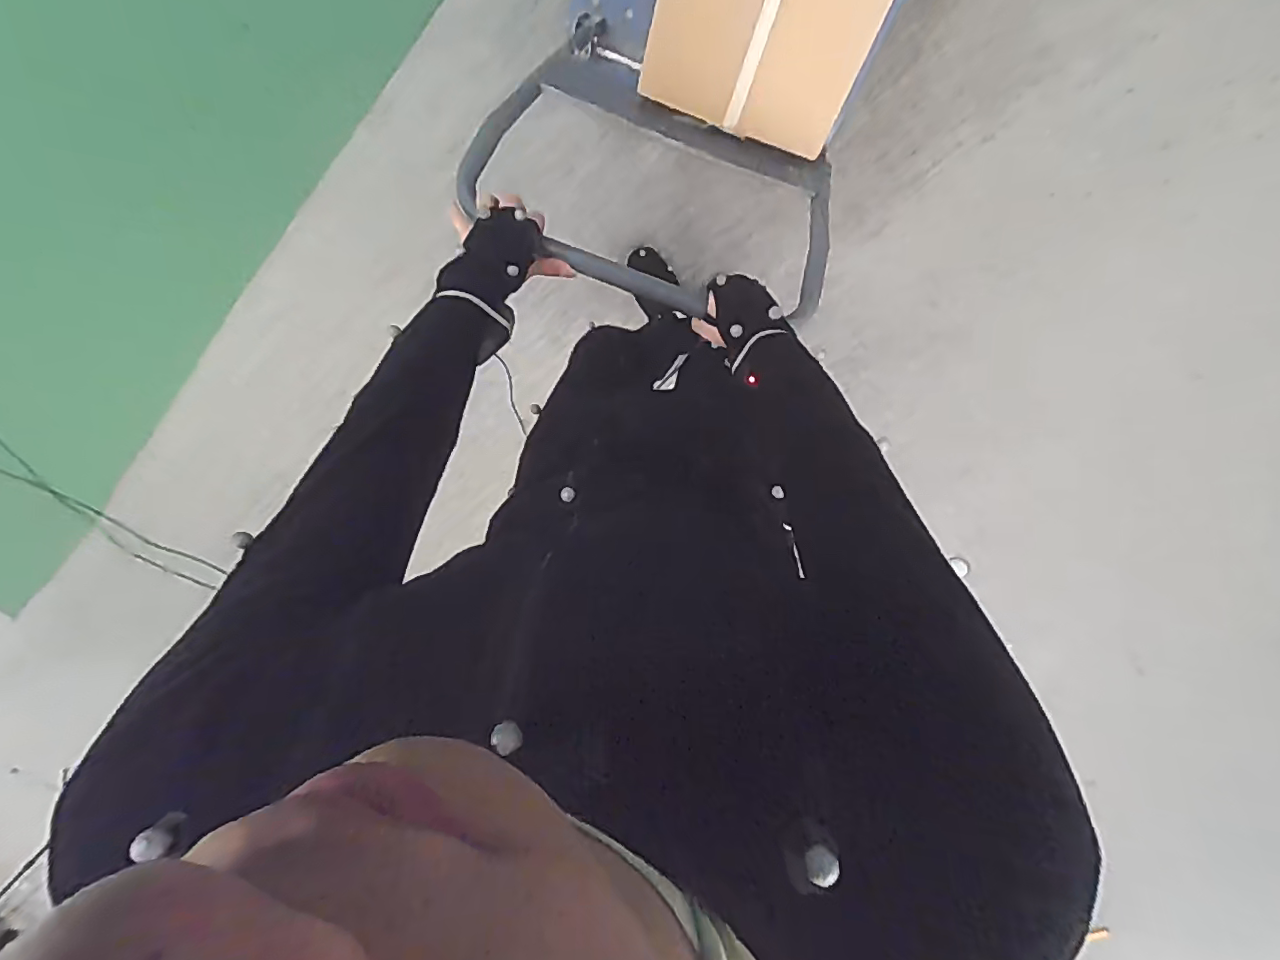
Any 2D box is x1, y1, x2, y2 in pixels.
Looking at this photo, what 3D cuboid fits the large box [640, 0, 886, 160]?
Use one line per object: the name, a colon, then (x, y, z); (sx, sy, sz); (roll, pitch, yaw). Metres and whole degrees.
large box: (0.220, -0.807, 0.844); (0.320, 0.320, 0.408); (18, 139, -5)
